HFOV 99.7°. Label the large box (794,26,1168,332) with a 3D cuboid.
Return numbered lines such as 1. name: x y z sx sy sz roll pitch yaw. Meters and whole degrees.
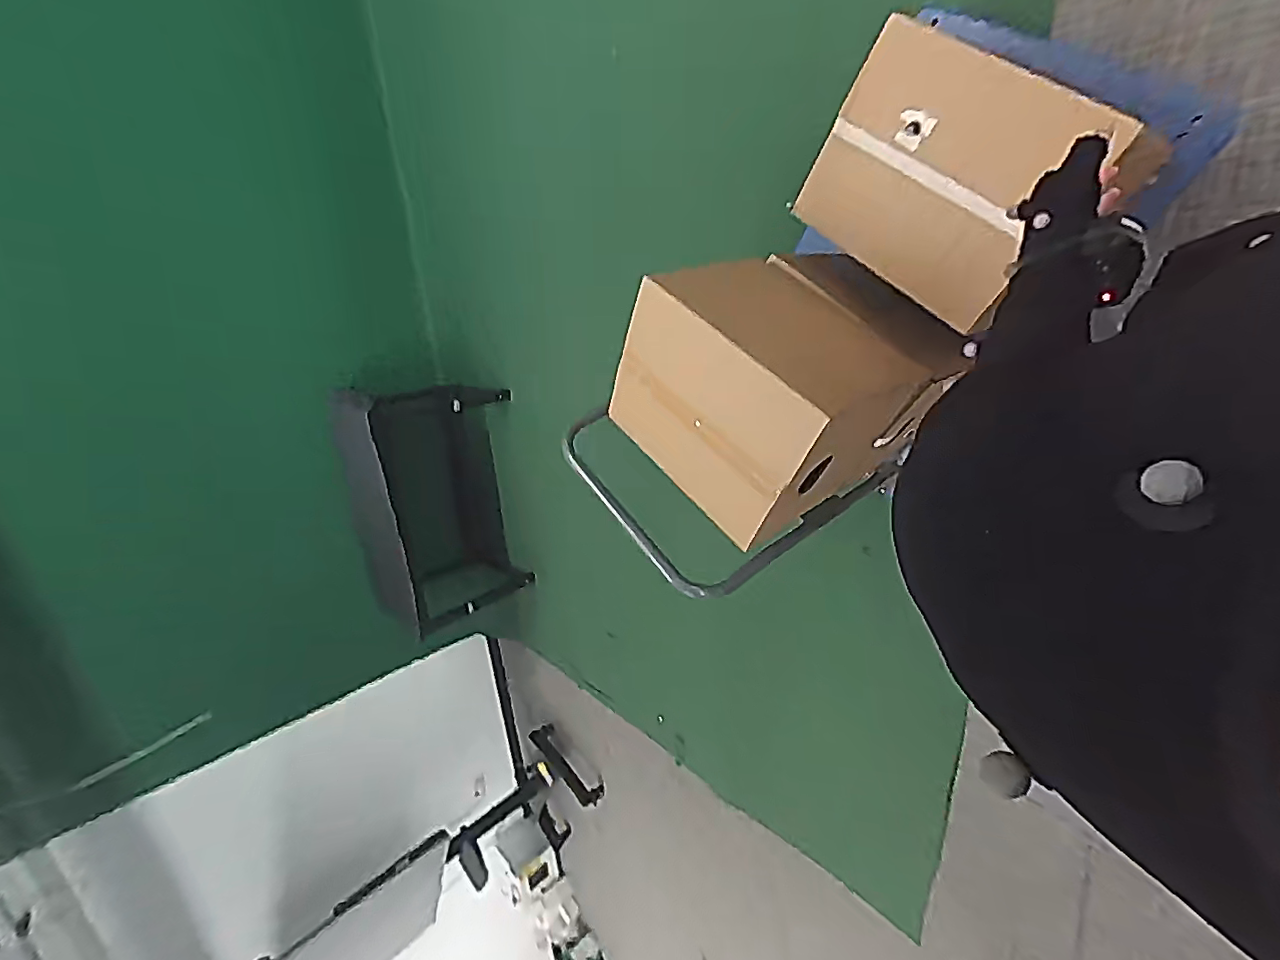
1. large box: 0.572 -0.517 0.953 0.408 0.320 0.320 49 138 23
